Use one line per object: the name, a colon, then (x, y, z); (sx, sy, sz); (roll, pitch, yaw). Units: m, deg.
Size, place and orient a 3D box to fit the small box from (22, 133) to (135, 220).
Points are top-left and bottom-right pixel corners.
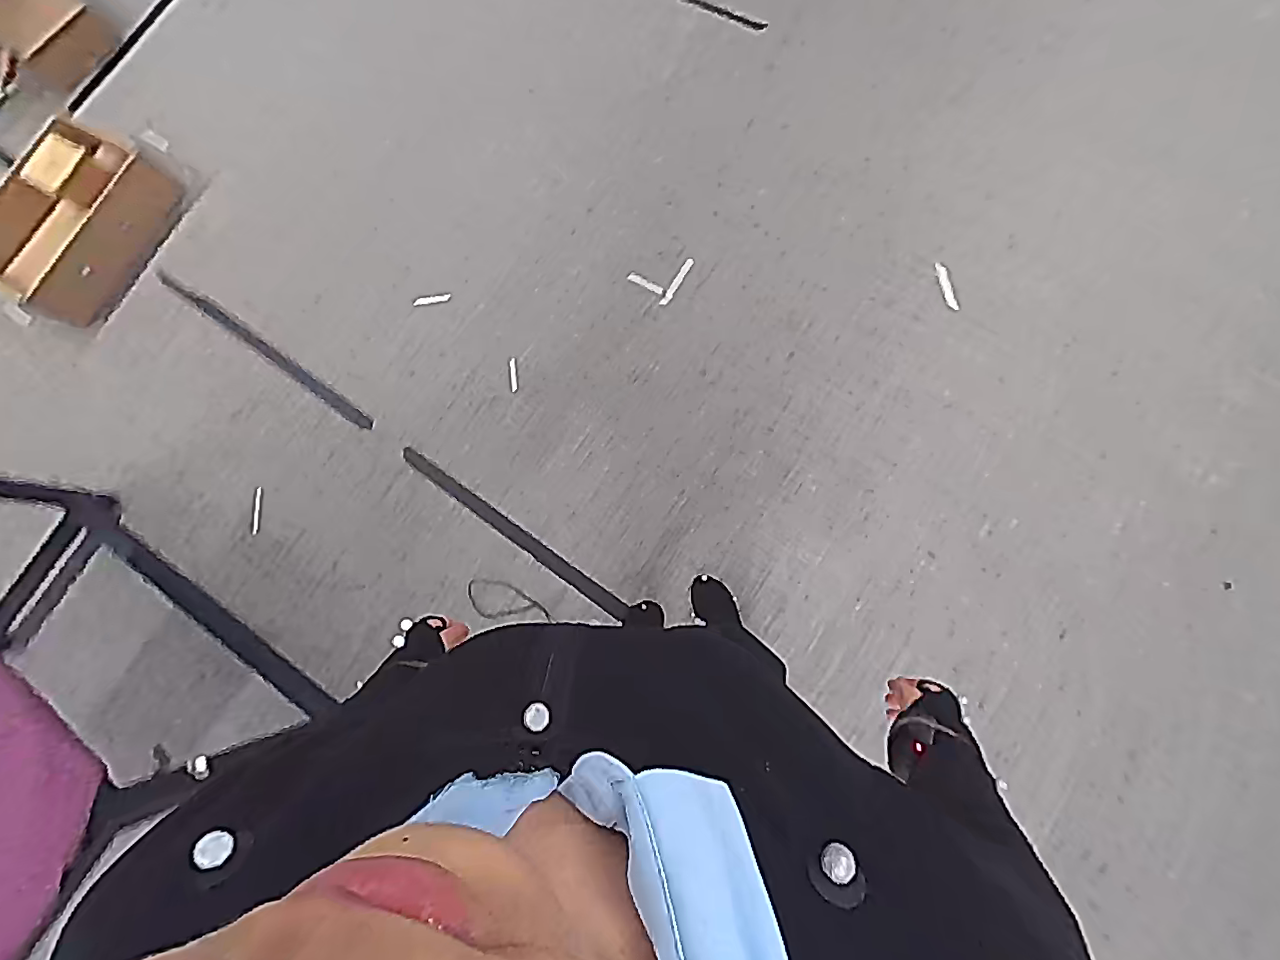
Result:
small box: (-1.908, -1.028, 1.845); (0.179, 0.176, 0.168); (28, 84, 11)
